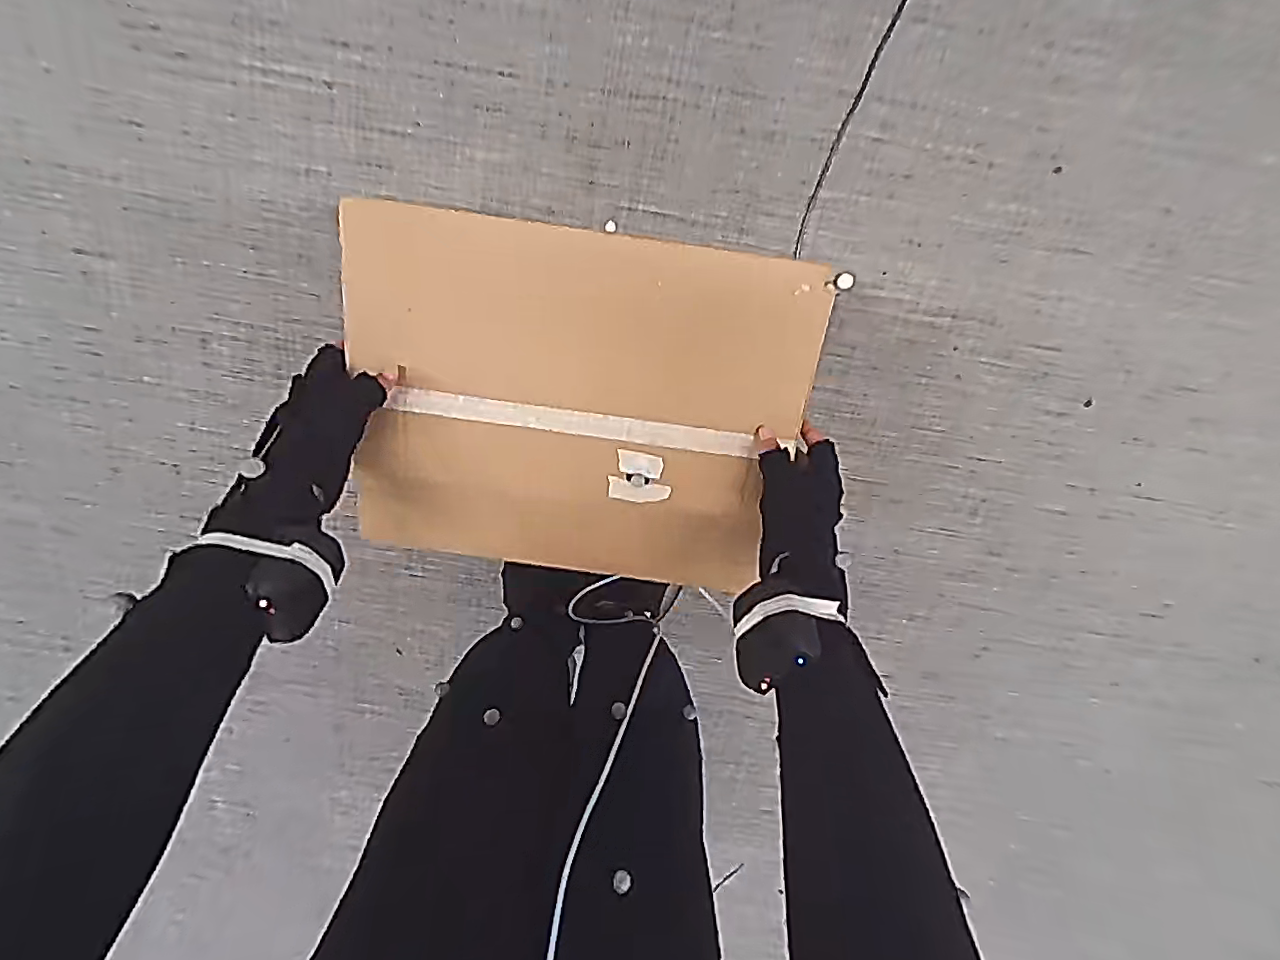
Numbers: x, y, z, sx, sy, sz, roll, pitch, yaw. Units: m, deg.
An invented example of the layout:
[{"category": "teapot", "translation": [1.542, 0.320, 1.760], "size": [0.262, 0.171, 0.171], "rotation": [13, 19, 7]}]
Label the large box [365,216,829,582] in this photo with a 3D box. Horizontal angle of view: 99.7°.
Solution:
[{"category": "large box", "translation": [-0.049, -0.110, 0.647], "size": [0.408, 0.320, 0.320], "rotation": [8, 112, 0]}]
